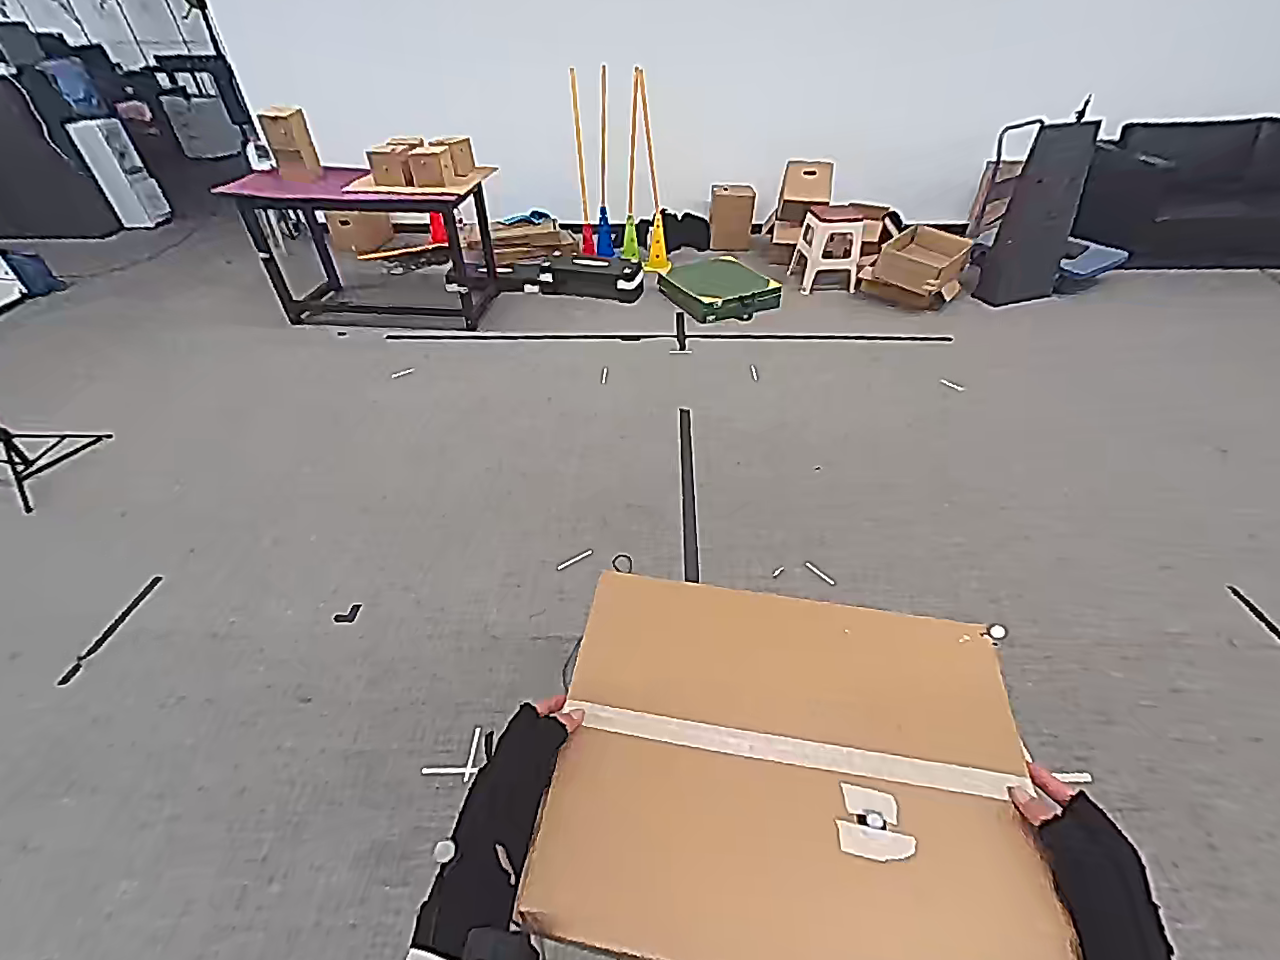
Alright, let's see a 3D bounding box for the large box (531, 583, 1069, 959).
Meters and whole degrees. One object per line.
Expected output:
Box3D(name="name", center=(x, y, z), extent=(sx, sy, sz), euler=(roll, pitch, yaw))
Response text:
Box3D(name="large box", center=(0.132, 0.348, 0.595), extent=(0.408, 0.320, 0.320), euler=(7, 48, 7))
